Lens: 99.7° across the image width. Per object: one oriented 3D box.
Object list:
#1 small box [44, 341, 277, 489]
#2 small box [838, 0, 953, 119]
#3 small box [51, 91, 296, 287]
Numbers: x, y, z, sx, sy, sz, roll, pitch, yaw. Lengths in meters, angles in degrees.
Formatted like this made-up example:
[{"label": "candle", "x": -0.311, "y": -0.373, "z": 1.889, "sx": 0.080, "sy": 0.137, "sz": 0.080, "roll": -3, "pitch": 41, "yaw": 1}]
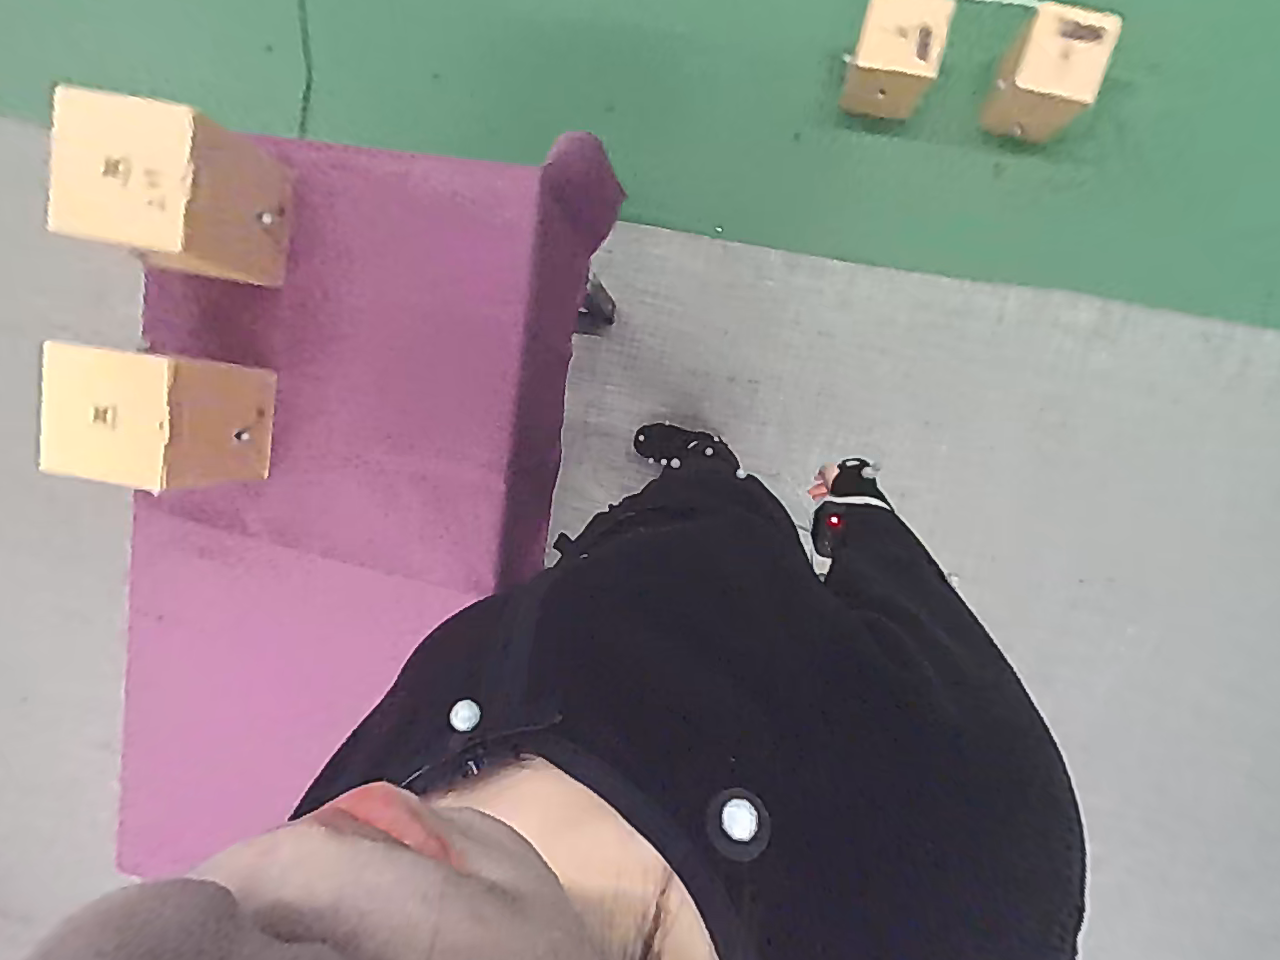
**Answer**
[{"label": "small box", "x": -0.655, "y": -0.087, "z": 0.754, "sx": 0.179, "sy": 0.176, "sz": 0.168, "roll": 9, "pitch": 96, "yaw": 5}, {"label": "small box", "x": 0.586, "y": -0.983, "z": 1.265, "sx": 0.179, "sy": 0.176, "sz": 0.168, "roll": 14, "pitch": 96, "yaw": 7}, {"label": "small box", "x": -0.605, "y": -0.370, "z": 0.718, "sx": 0.179, "sy": 0.176, "sz": 0.168, "roll": 11, "pitch": 97, "yaw": 3}]
